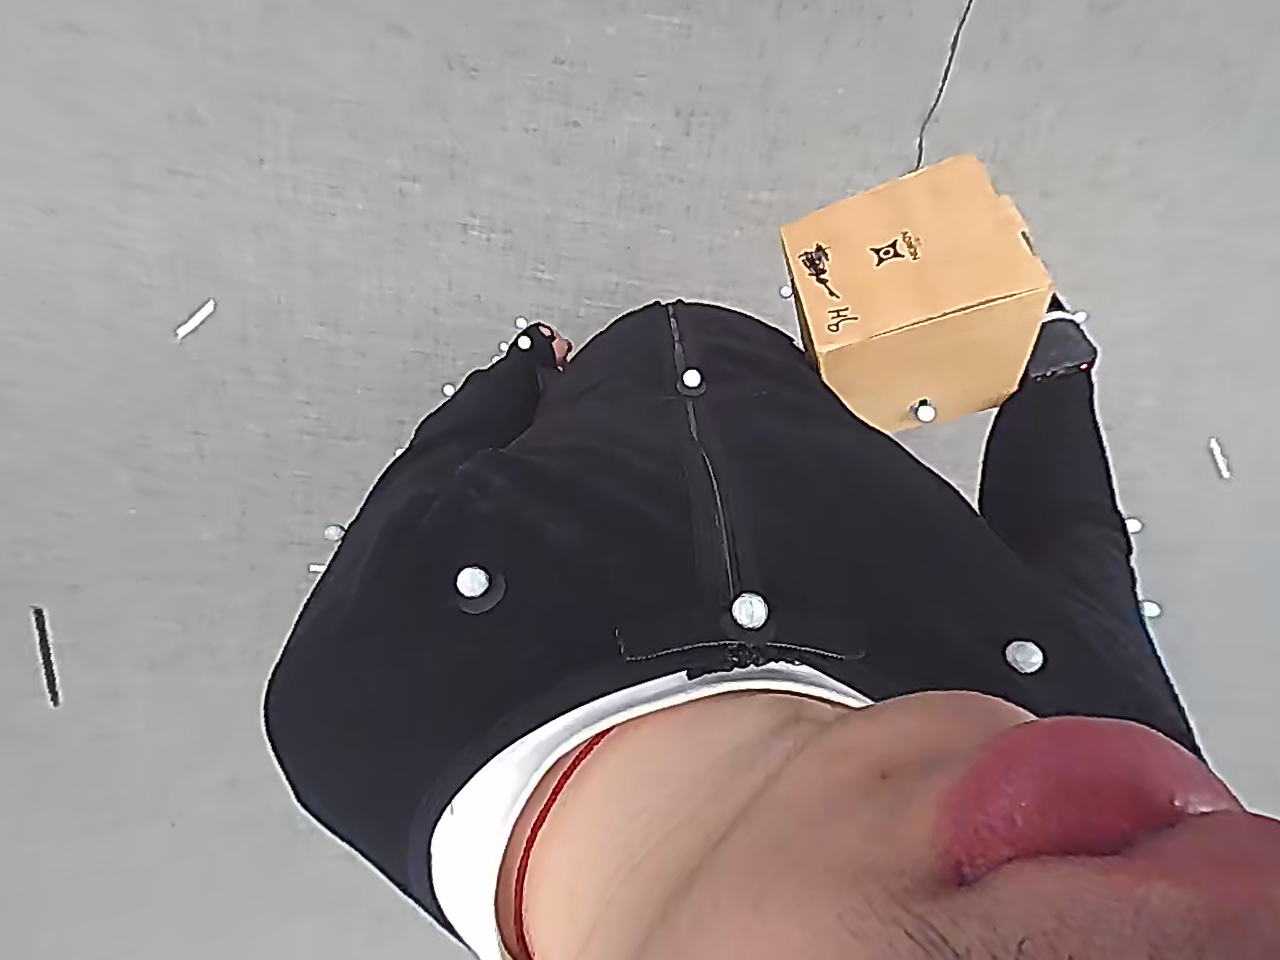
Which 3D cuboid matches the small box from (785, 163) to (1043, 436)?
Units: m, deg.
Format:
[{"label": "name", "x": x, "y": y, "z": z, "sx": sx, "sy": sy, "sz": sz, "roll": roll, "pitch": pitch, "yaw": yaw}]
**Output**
[{"label": "small box", "x": 0.259, "y": -0.168, "z": 0.550, "sx": 0.179, "sy": 0.176, "sz": 0.168, "roll": -14, "pitch": 60, "yaw": 17}]
